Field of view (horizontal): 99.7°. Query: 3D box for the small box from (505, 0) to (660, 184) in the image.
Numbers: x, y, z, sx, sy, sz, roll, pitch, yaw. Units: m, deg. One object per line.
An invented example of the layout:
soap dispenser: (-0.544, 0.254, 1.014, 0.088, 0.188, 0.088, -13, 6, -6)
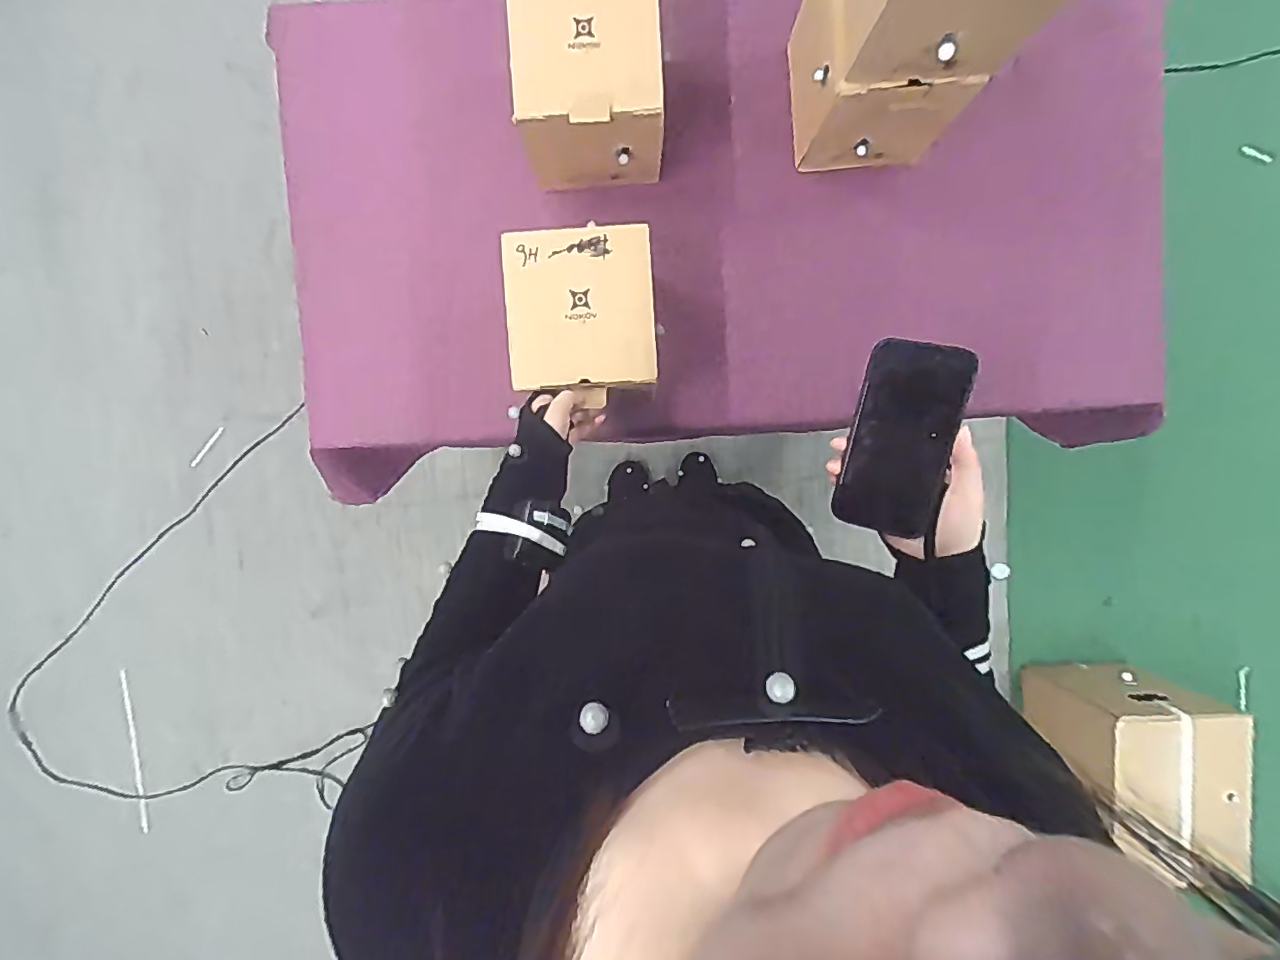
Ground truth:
small box: (-0.062, -0.486, 0.663, 0.168, 0.176, 0.179, -3, 93, 0)

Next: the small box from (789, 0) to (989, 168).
small box: (0.287, -0.516, 0.657, 0.168, 0.176, 0.179, -5, 94, 1)

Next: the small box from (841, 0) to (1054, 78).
small box: (0.291, -0.514, 0.492, 0.168, 0.176, 0.179, -3, 94, 1)

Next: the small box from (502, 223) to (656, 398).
small box: (-0.065, -0.196, 0.678, 0.168, 0.176, 0.179, -3, 93, 1)
